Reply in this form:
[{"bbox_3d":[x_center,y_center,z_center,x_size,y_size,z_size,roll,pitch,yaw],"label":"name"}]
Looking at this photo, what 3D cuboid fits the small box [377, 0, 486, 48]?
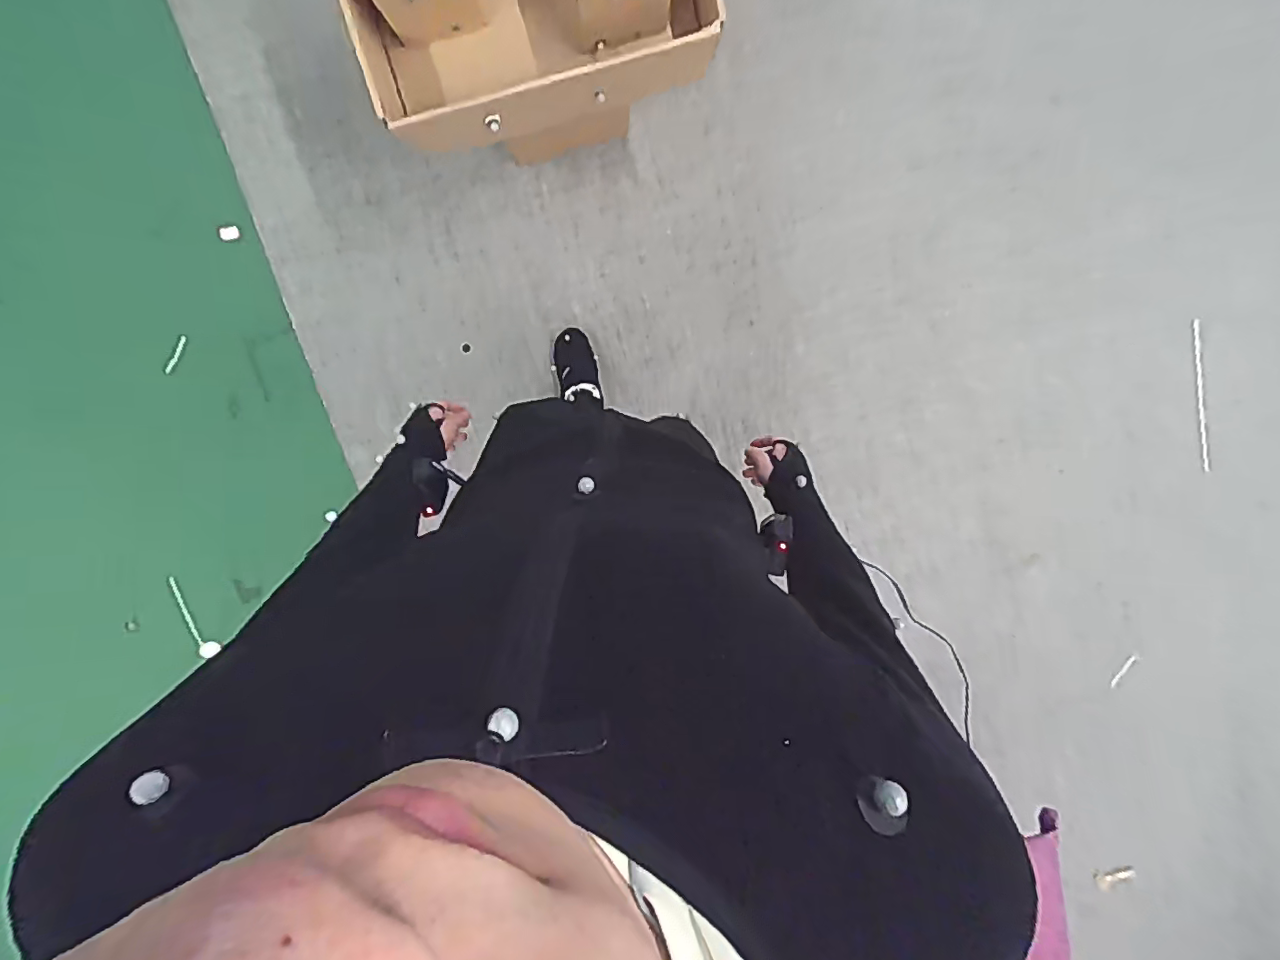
[{"bbox_3d":[-0.379,-0.891,0.917,0.168,0.176,0.179,-14,102,1],"label":"small box"}]
